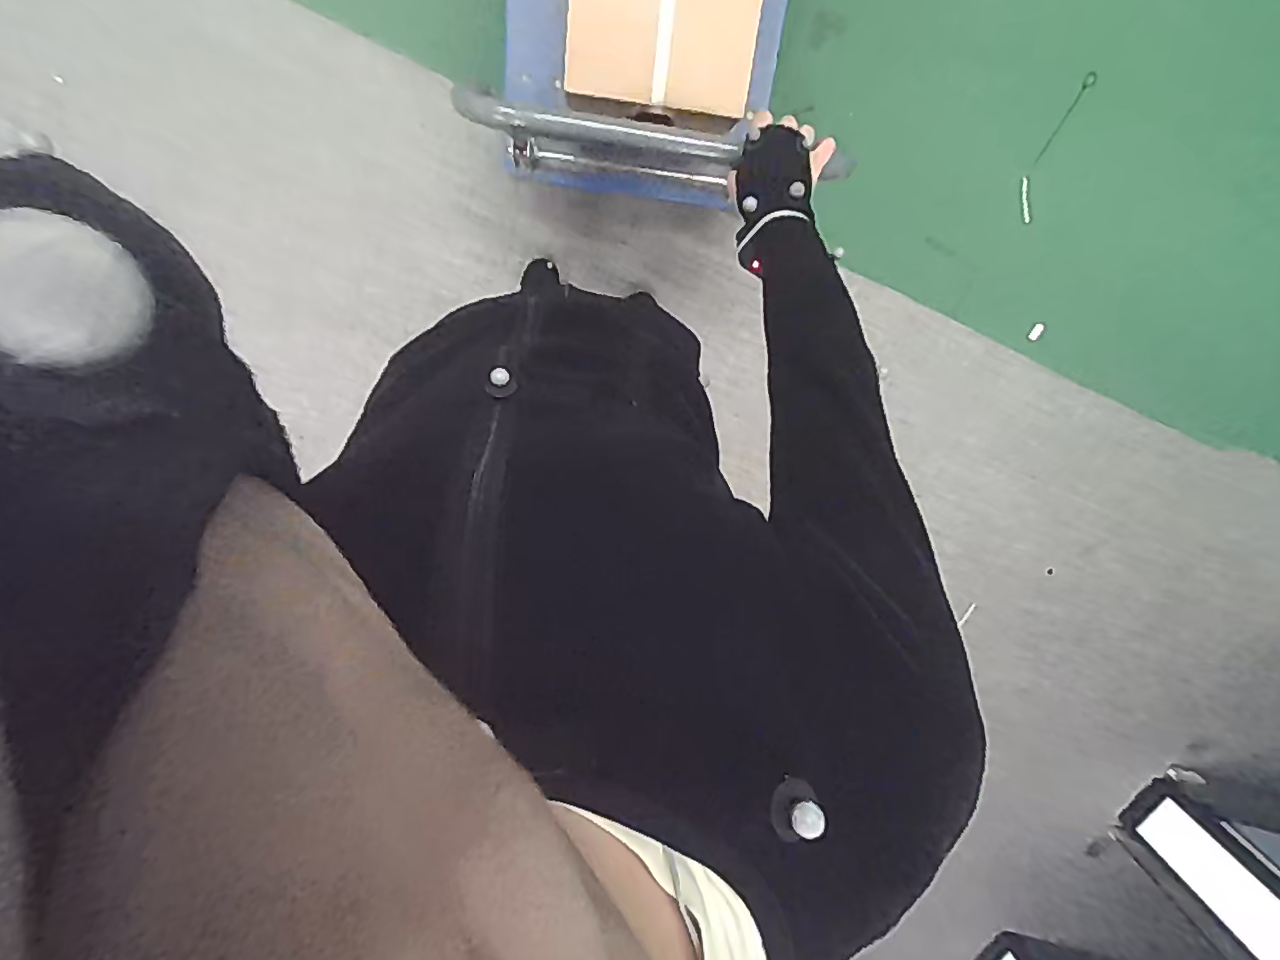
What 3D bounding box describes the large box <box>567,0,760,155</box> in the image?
[{"bbox_3d":[0.039,-0.874,1.005,0.320,0.320,0.408,5,111,-6],"label":"large box"}]
